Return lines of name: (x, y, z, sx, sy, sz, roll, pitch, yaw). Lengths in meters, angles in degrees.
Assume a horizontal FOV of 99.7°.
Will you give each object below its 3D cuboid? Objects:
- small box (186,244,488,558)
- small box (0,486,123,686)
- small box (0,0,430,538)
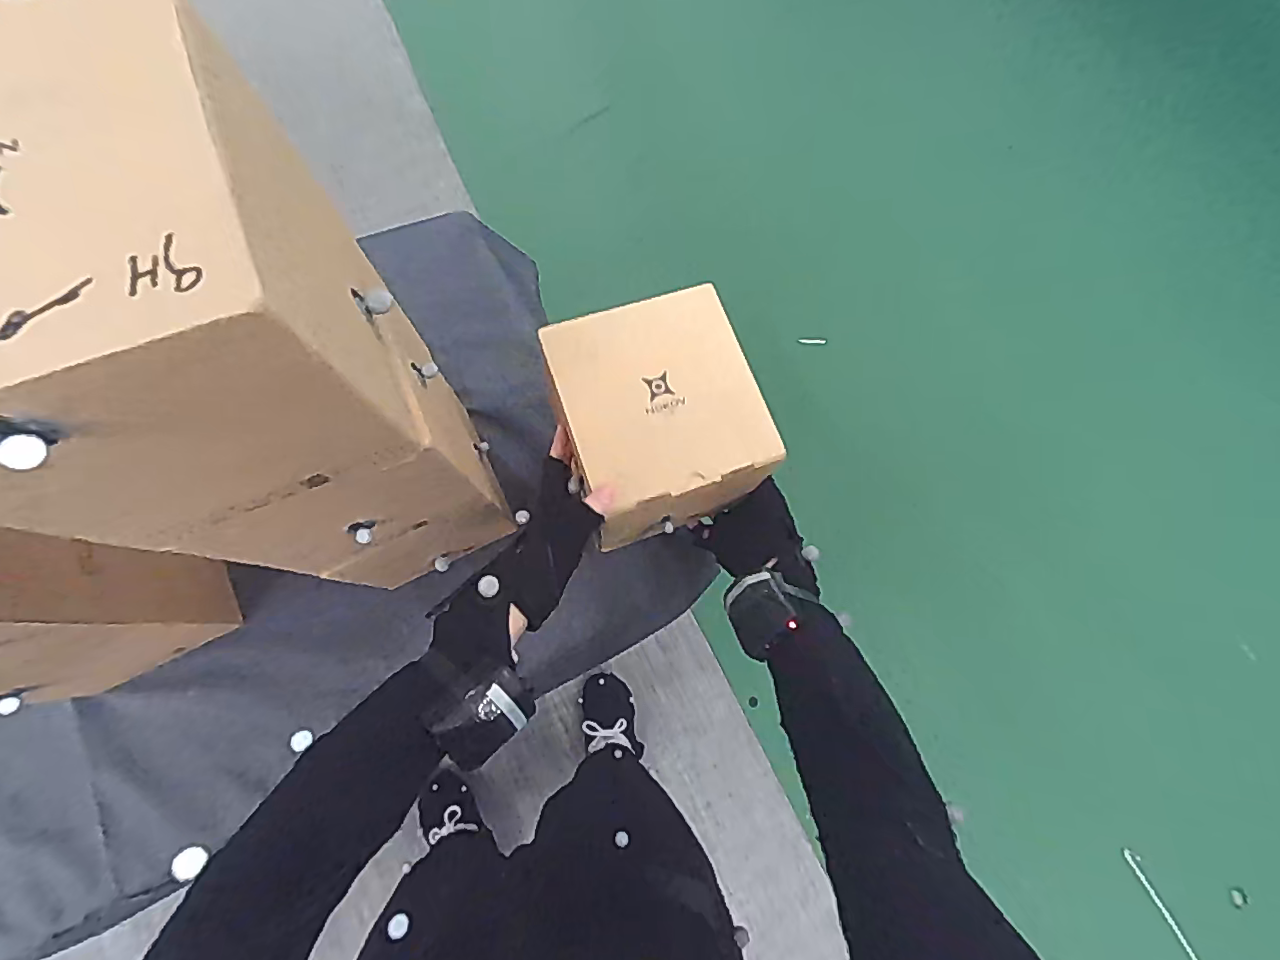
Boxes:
small box: (-0.241, -0.047, 0.437, 0.168, 0.176, 0.179, -23, 77, -9)
small box: (-0.537, 0.067, 0.393, 0.179, 0.176, 0.168, -28, 77, -10)
small box: (-0.234, -0.088, 0.278, 0.168, 0.176, 0.179, -22, 76, -7)
